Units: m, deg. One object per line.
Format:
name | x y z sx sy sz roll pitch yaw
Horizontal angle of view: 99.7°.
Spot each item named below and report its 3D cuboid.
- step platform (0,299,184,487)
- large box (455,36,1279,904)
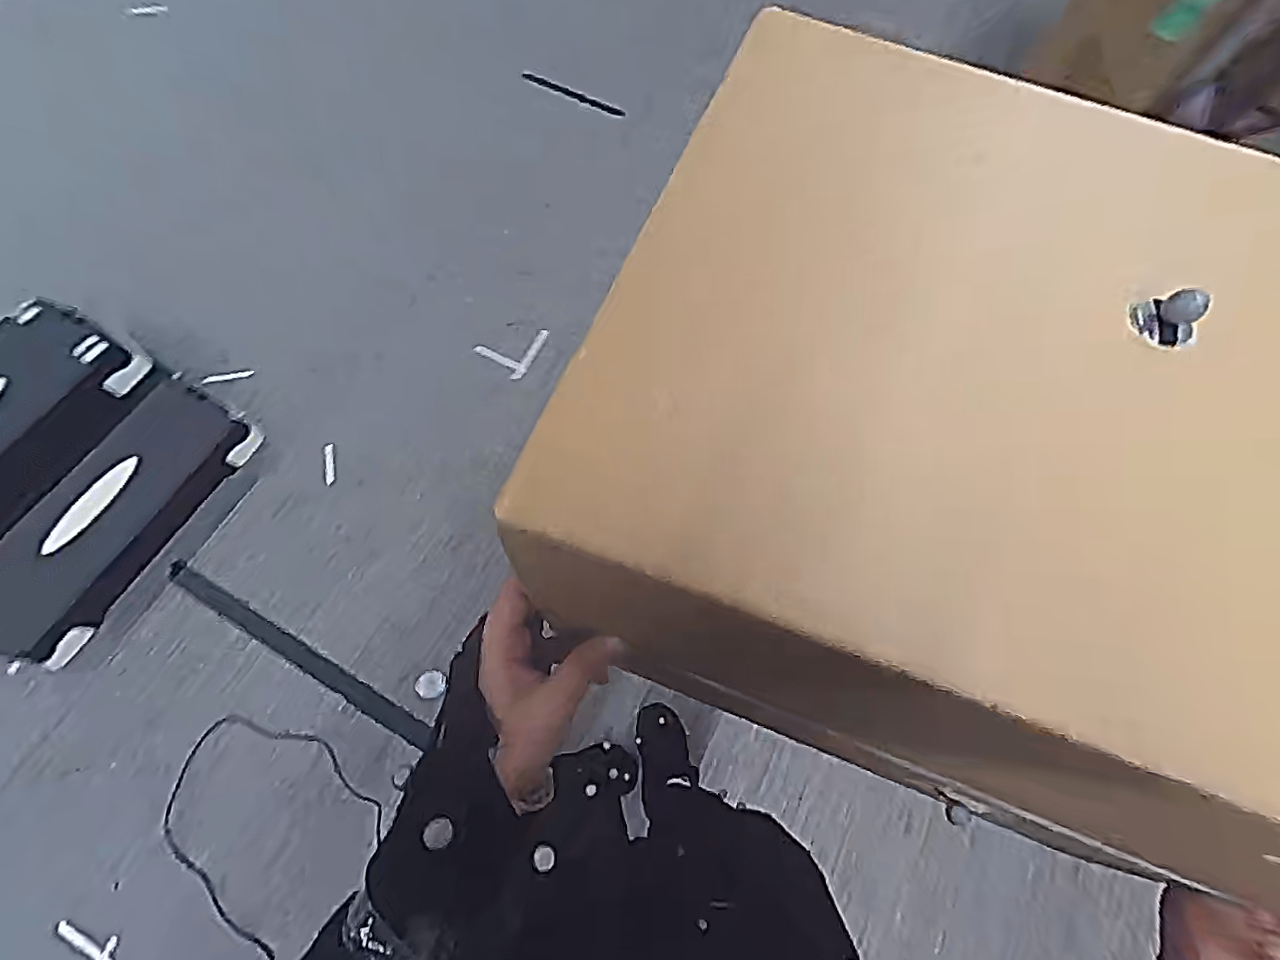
step platform | -1.485 -0.101 1.265 0.286 0.204 0.684 34 72 10
large box | 0.167 0.007 0.343 0.408 0.320 0.320 18 67 5
